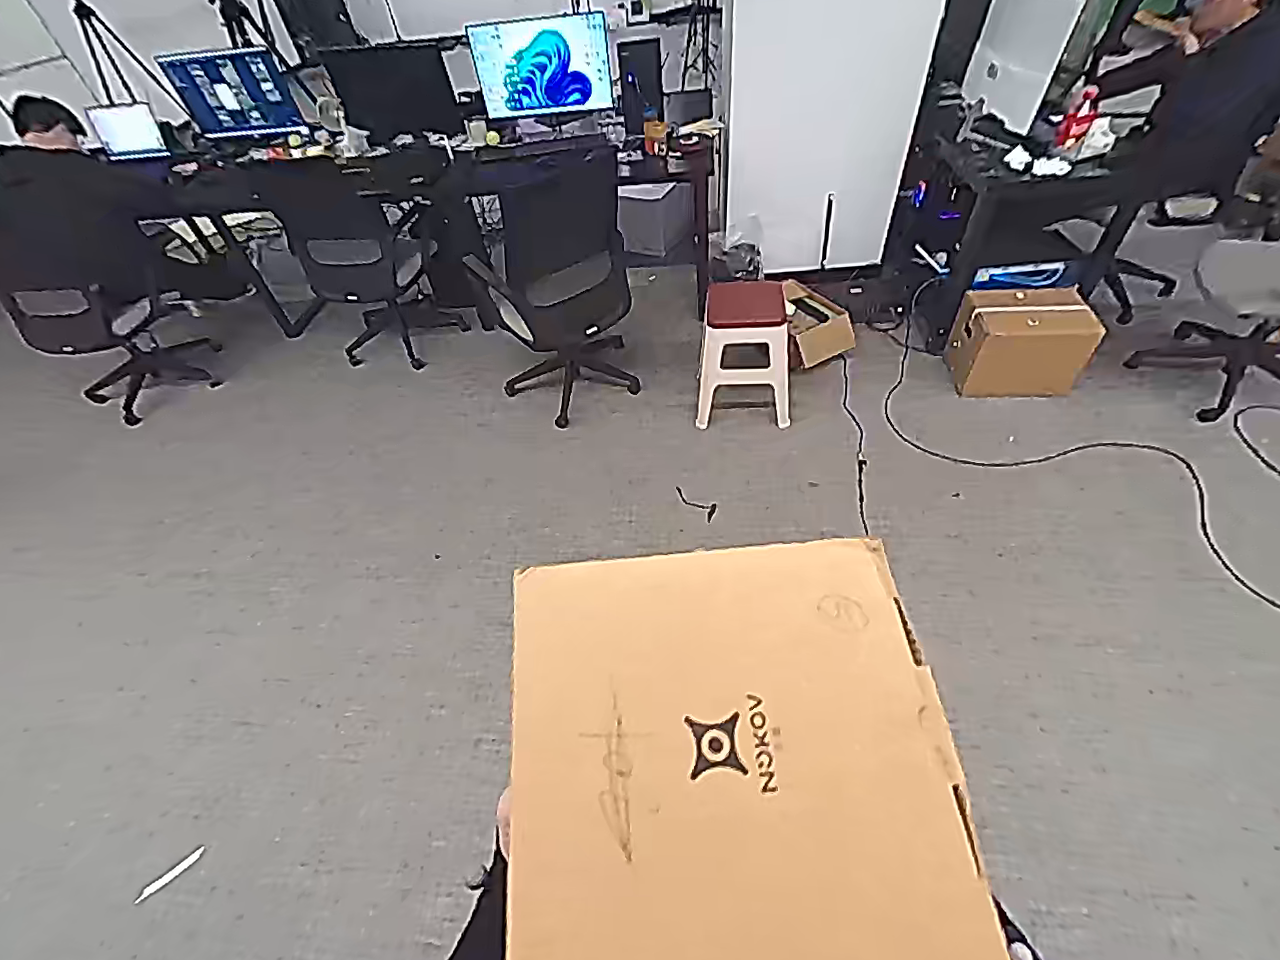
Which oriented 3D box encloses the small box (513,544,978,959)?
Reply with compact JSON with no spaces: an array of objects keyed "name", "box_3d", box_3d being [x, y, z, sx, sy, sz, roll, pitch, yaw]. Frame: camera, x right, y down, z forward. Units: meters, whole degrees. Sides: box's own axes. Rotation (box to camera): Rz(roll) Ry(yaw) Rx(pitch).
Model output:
[{"name":"small box","box_3d":[0.036,0.148,0.304,0.179,0.176,0.168,-6,61,0]}]
